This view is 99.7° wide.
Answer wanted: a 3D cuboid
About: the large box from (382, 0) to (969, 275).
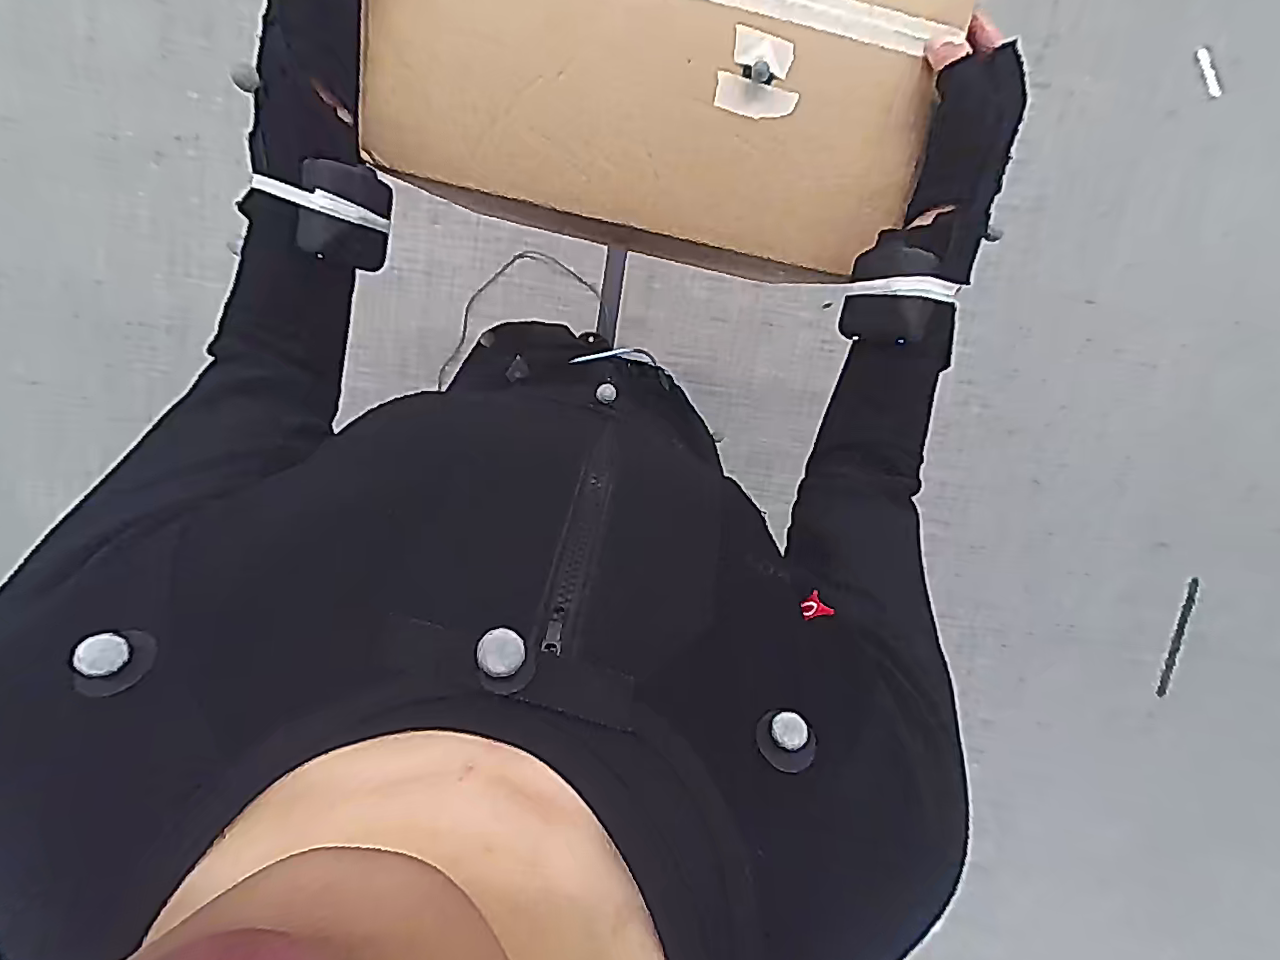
[{"bbox_3d":[0.022,-0.392,0.509,0.408,0.320,0.320,10,111,-7],"label":"large box"}]
